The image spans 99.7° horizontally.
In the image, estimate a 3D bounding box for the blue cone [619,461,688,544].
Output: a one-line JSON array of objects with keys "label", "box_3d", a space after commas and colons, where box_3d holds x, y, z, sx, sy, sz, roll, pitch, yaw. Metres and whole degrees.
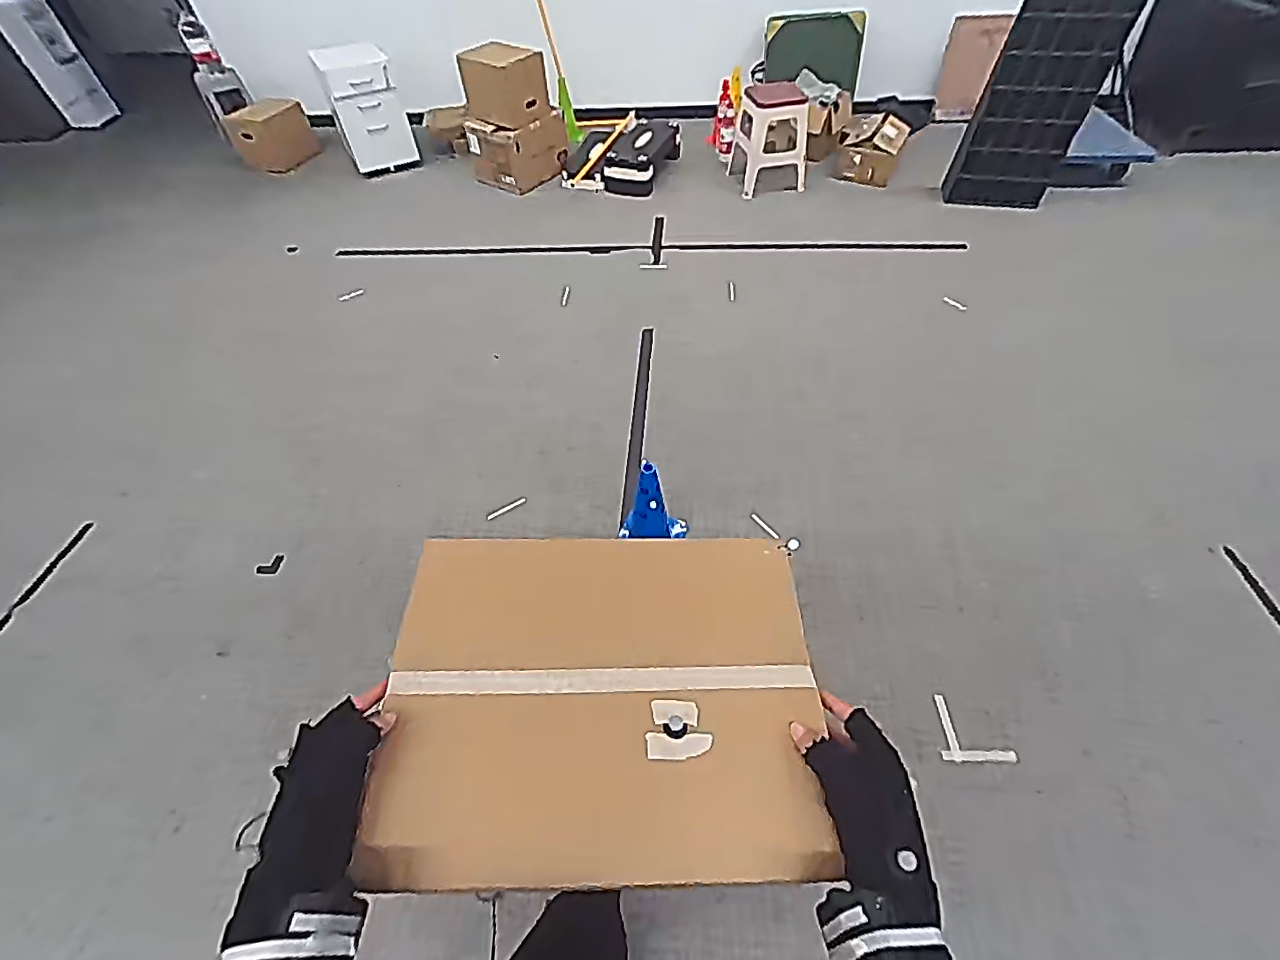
[{"label": "blue cone", "box_3d": [0.037, 0.084, 1.624, 0.193, 0.380, 0.192, 19, 54, 17]}]

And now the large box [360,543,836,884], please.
[{"label": "large box", "box_3d": [-0.040, 0.286, 0.651, 0.408, 0.320, 0.320, 0, 53, -2]}]
